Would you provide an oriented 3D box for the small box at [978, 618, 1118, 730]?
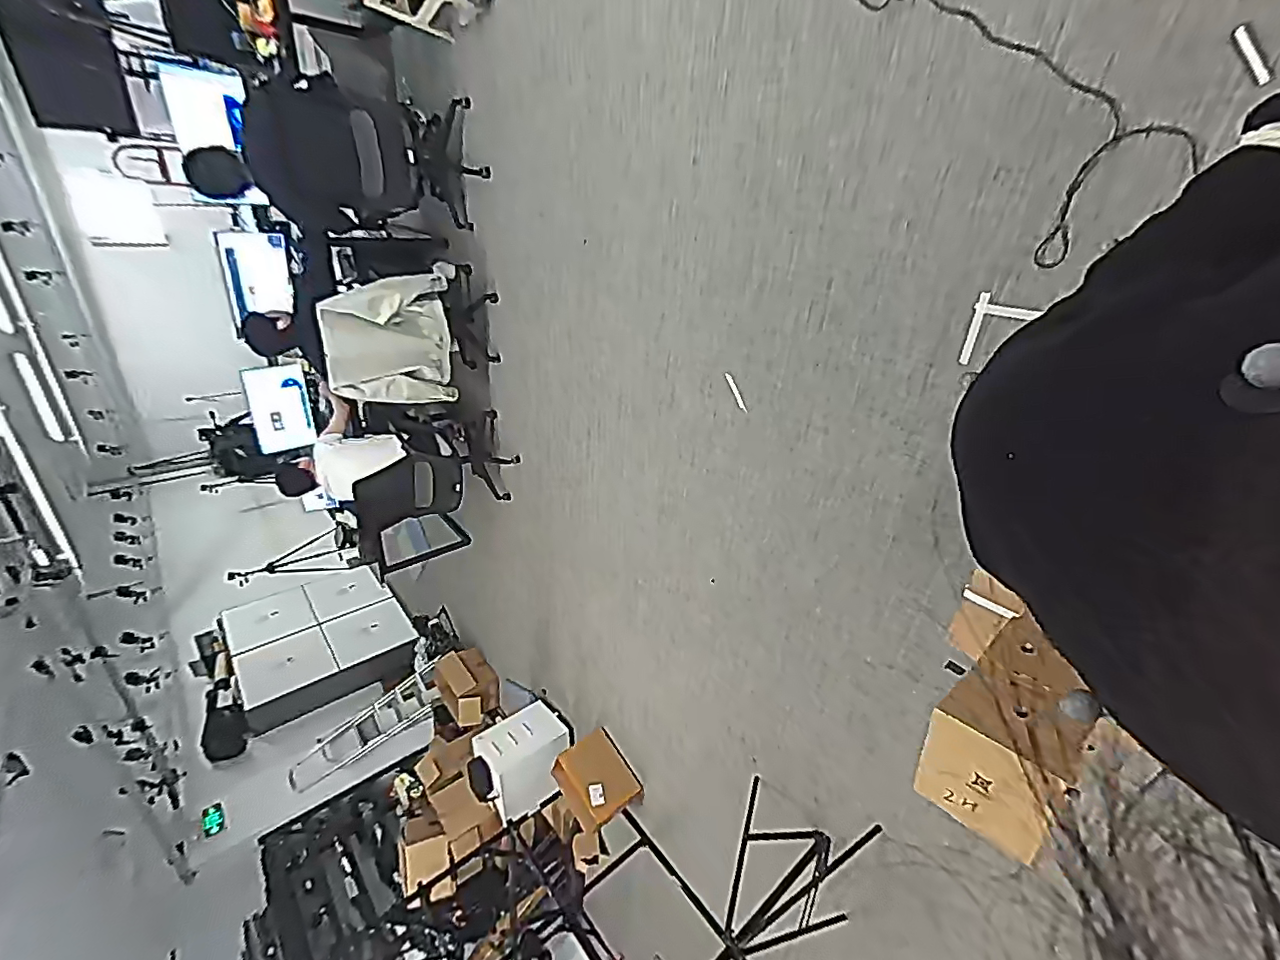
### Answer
[{"bbox_3d":[0.679,0.370,0.929,0.168,0.176,0.179,29,127,43],"label":"small box"}]

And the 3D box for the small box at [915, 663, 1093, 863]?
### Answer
[{"bbox_3d":[0.557,0.416,0.829,0.168,0.176,0.179,25,123,46],"label":"small box"}]
